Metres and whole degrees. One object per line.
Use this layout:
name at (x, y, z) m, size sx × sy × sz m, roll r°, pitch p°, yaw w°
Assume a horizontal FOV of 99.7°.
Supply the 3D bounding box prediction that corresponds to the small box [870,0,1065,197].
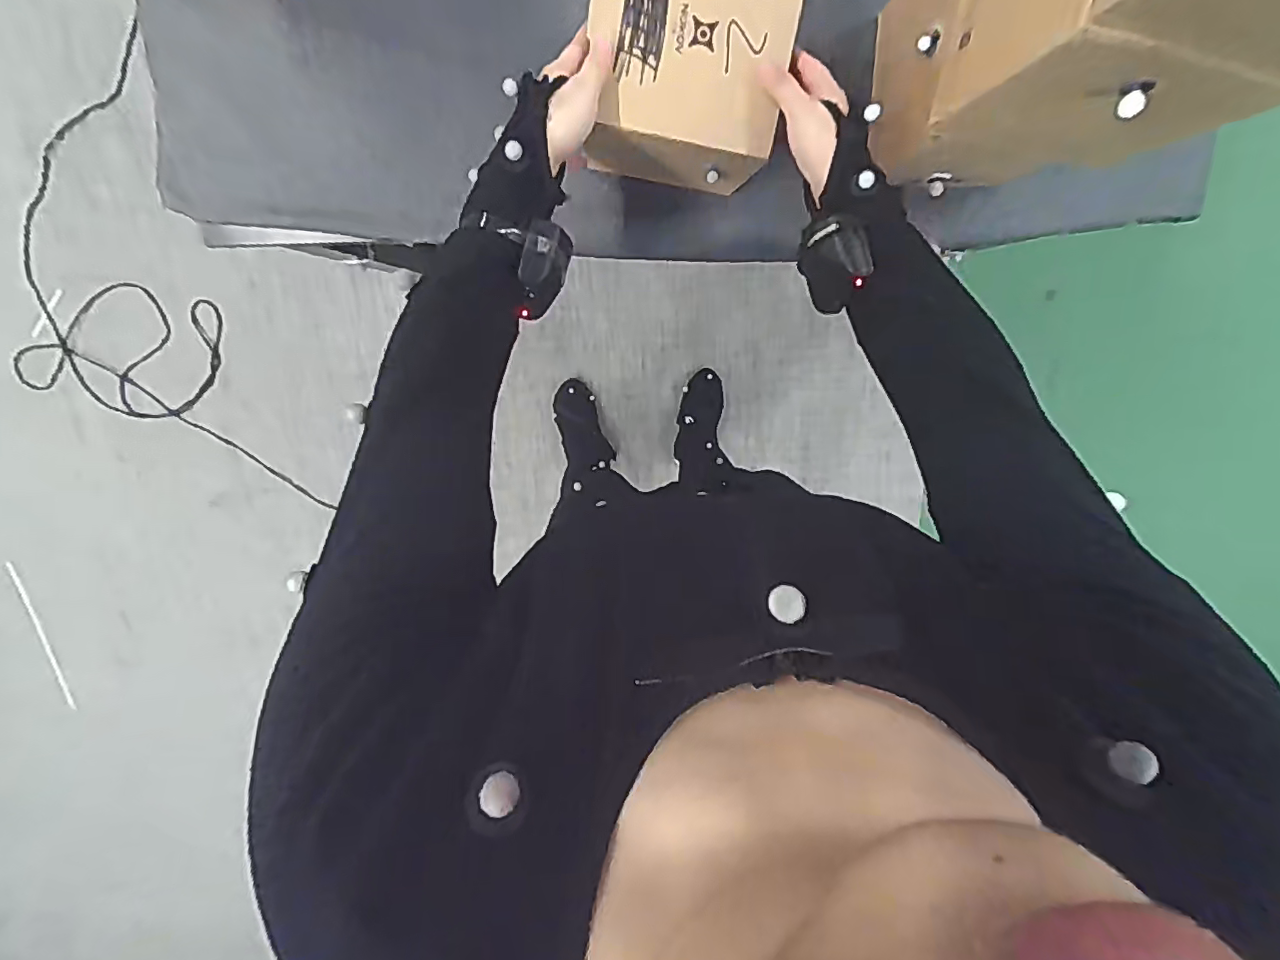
small box at (0.354, -0.407, 0.552) m, size 0.168 × 0.176 × 0.179 m, roll -1°, pitch 105°, yaw -2°

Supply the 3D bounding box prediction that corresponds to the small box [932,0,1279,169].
small box at (0.362, -0.352, 0.398) m, size 0.179 × 0.176 × 0.168 m, roll 9°, pitch 104°, yaw -4°
